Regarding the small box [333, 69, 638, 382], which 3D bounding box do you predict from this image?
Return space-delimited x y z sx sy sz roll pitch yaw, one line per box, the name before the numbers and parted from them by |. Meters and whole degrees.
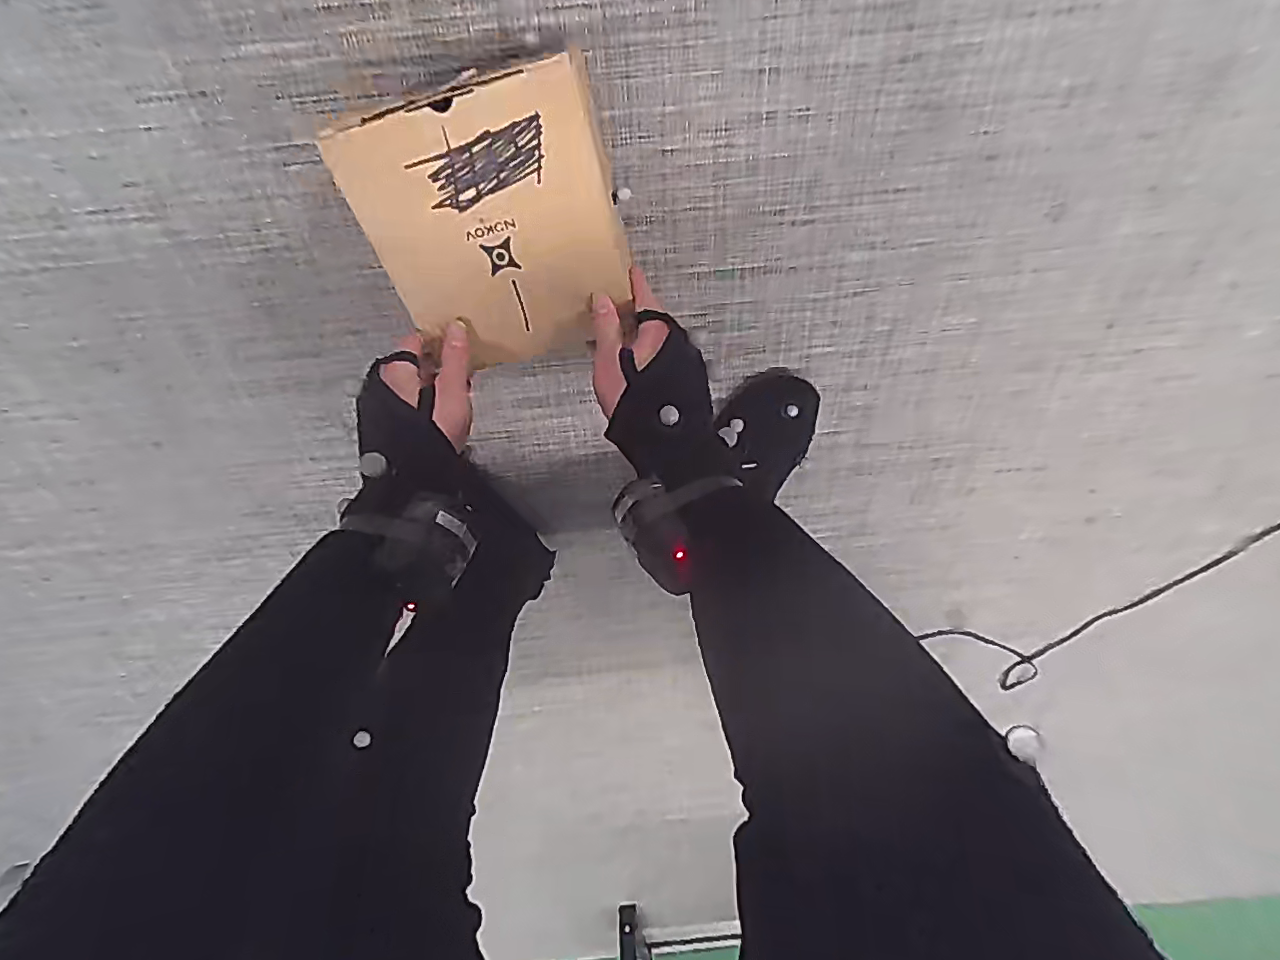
small box | -0.103 -0.211 0.446 0.168 0.176 0.179 -13 127 6
